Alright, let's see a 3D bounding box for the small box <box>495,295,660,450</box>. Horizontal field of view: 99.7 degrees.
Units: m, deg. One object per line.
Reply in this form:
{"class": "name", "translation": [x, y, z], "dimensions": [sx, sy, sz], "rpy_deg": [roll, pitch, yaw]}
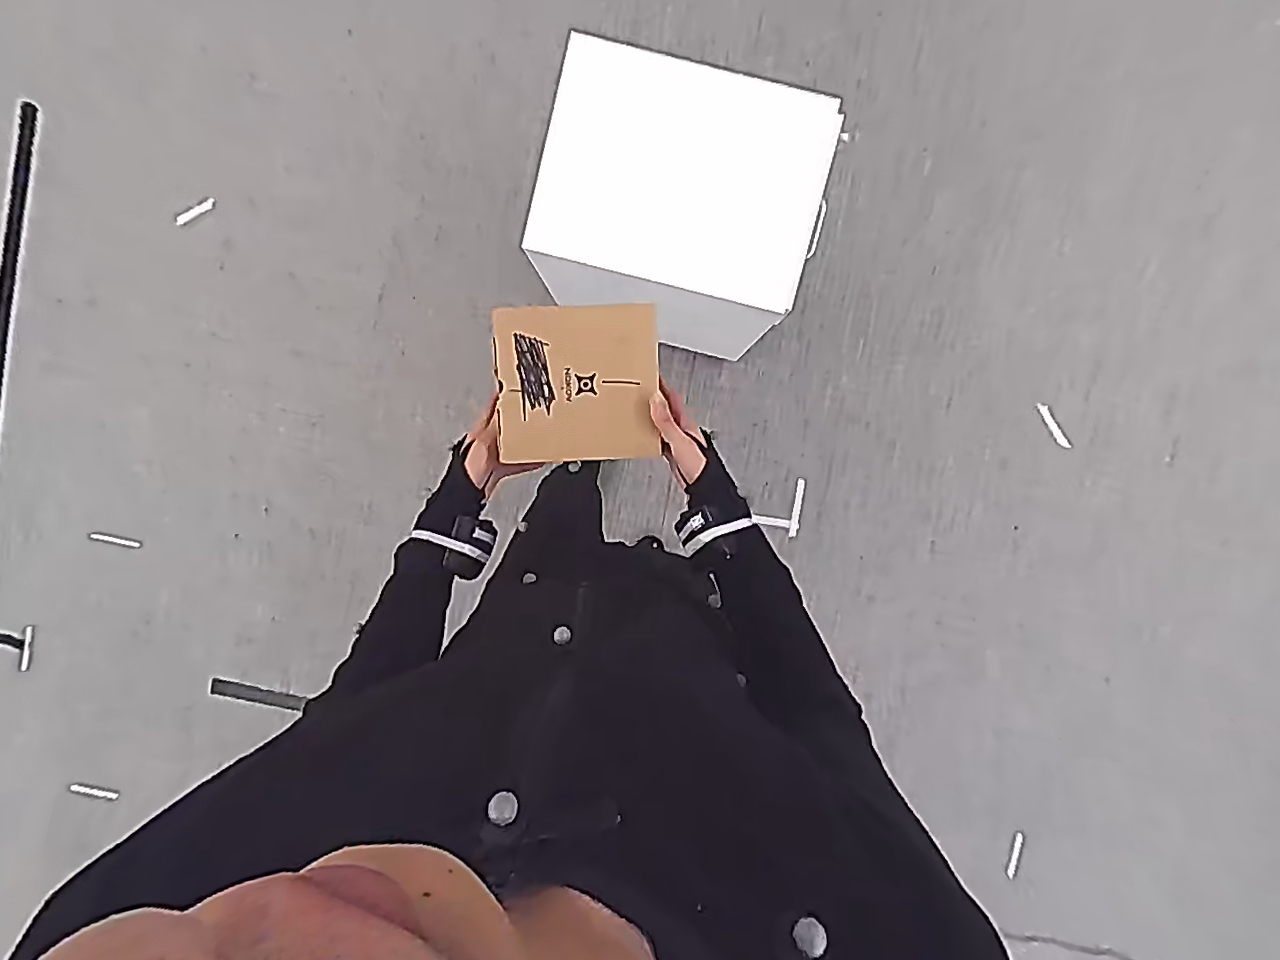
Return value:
{"class": "small box", "translation": [-0.068, -0.120, 0.658], "dimensions": [0.179, 0.176, 0.168], "rpy_deg": [-2, 95, -2]}
